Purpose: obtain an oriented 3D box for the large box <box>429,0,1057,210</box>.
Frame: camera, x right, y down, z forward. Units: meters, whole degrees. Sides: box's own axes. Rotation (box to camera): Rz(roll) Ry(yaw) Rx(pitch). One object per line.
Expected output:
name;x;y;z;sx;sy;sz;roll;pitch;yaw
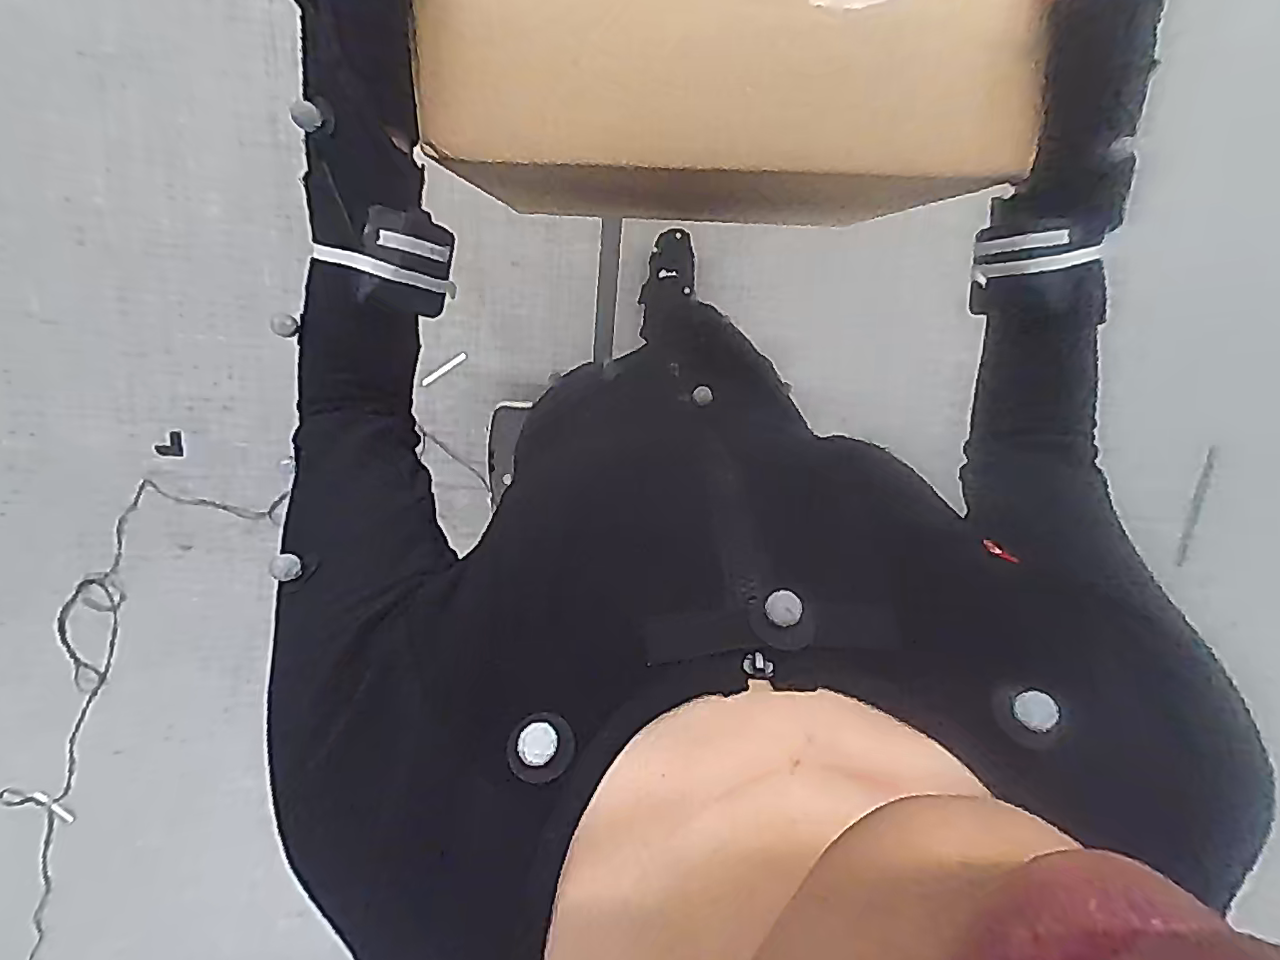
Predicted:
large box;0.061;-0.418;0.454;0.408;0.320;0.320;0;111;-3
